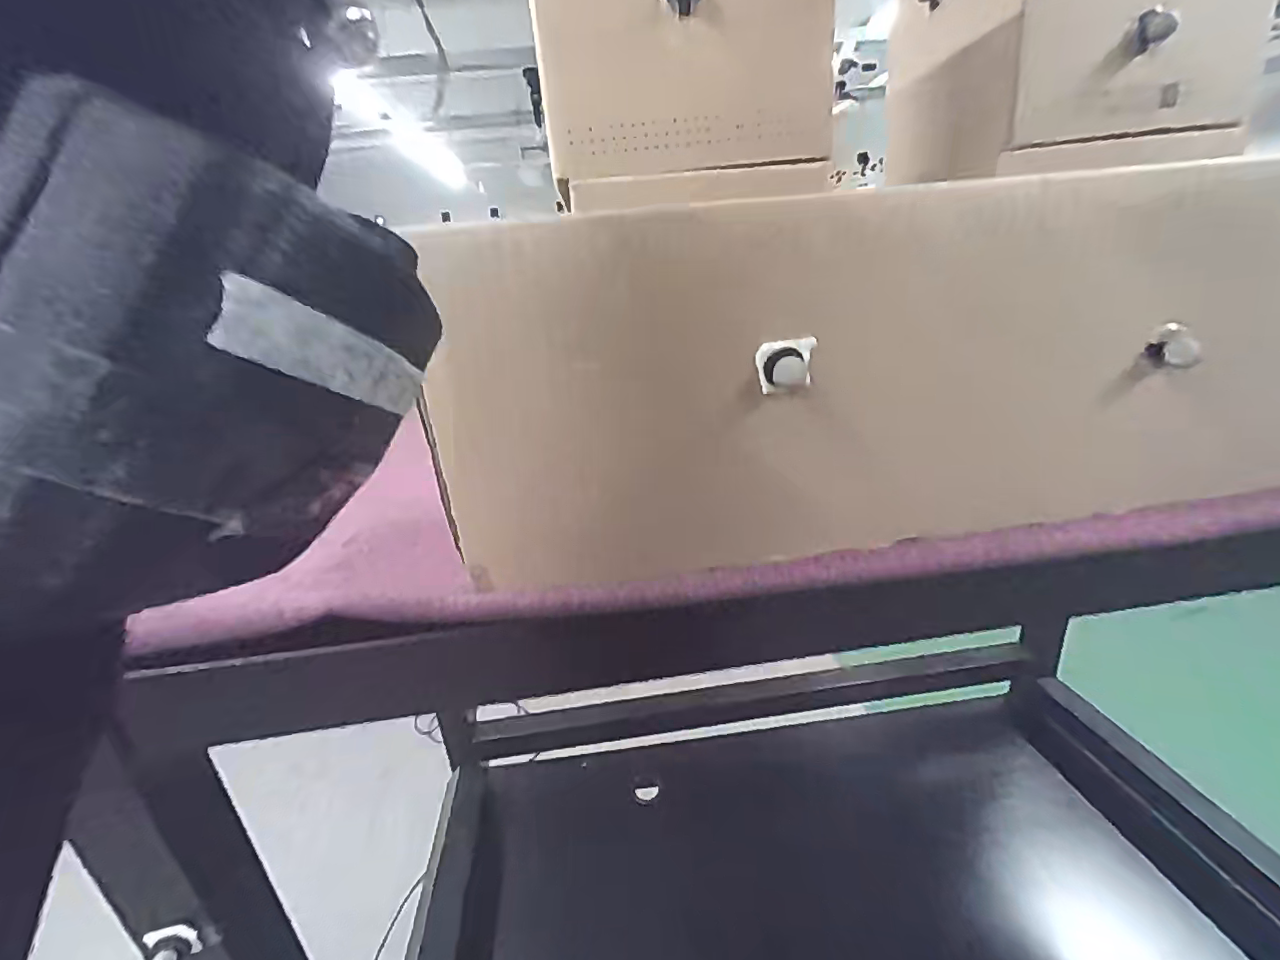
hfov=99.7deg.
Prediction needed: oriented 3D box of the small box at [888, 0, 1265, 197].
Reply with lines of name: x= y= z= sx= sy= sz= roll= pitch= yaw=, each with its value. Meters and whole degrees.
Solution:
small box: x=0.307 y=-0.327 z=0.414 sx=0.168 sy=0.176 sz=0.179 roll=-8 pitch=20 yaw=-1
